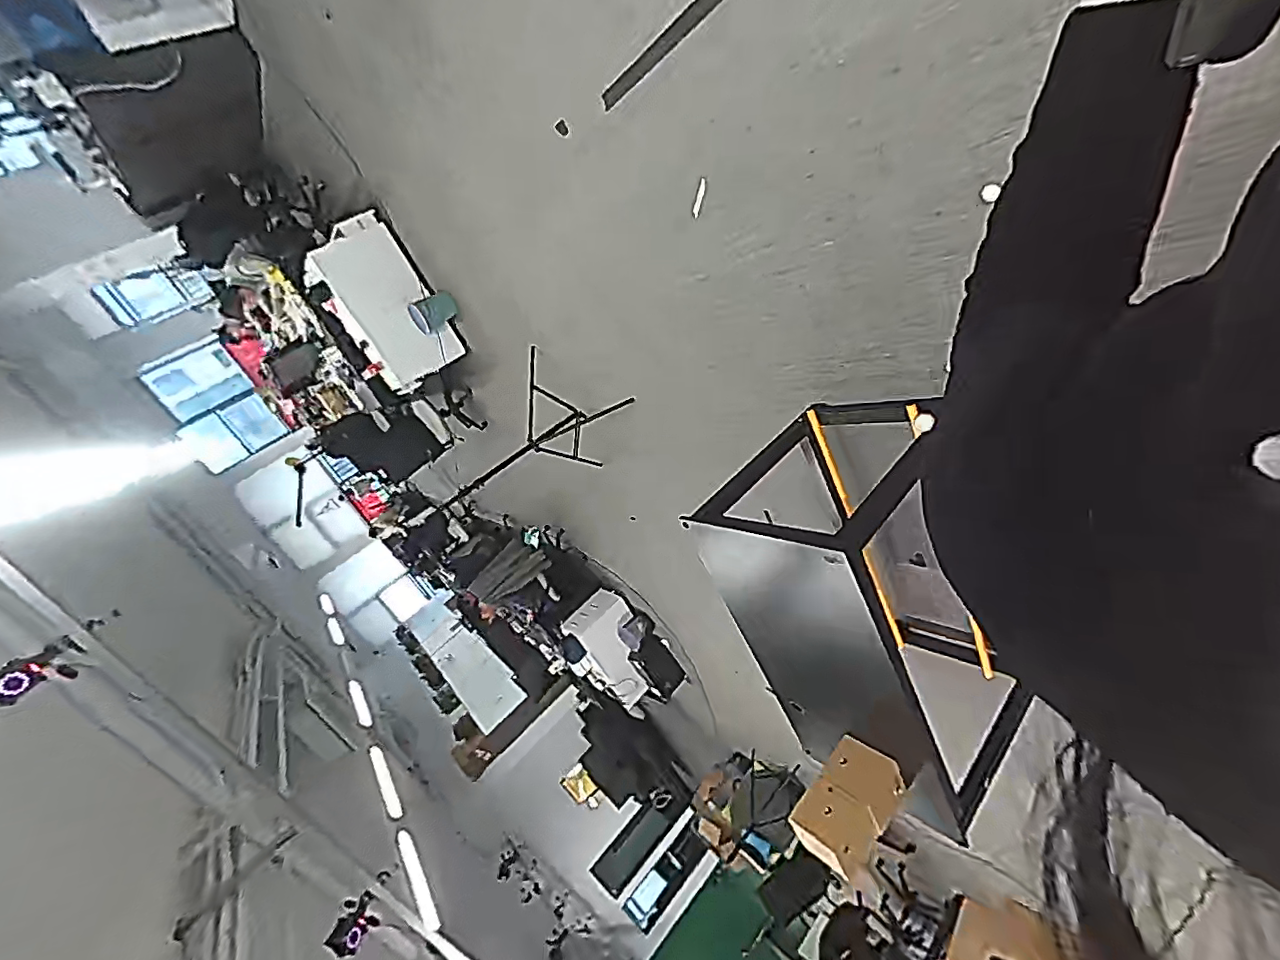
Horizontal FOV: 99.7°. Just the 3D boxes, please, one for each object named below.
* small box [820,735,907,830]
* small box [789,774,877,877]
[{"bbox_3d":[0.709,0.946,1.714,0.179,0.176,0.168,10,135,53],"label":"small box"},{"bbox_3d":[0.593,1.046,1.652,0.168,0.176,0.179,12,137,54],"label":"small box"}]
